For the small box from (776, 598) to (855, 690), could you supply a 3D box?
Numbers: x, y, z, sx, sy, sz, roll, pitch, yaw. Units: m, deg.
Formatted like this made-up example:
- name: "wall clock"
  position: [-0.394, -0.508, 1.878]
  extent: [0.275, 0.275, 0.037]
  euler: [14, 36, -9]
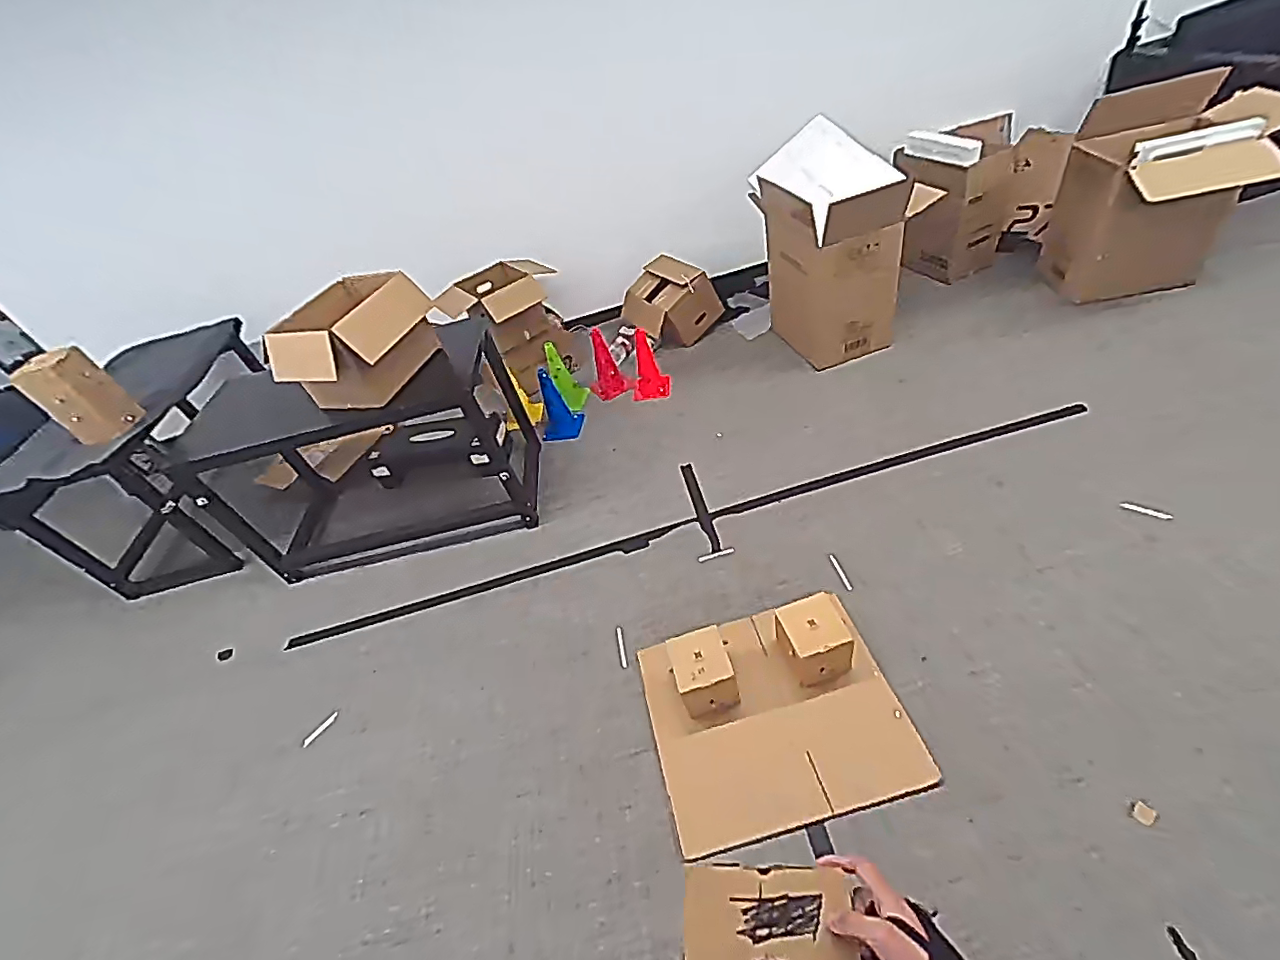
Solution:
- name: "small box"
  position: [0.523, 0.494, 1.625]
  extent: [0.168, 0.176, 0.179]
  euler: [-20, 42, -3]

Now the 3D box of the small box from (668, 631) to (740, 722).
- name: "small box"
  position: [0.192, 0.589, 1.622]
  extent: [0.168, 0.176, 0.179]
  euler: [-18, 42, 0]

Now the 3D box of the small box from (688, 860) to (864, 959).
- name: "small box"
  position: [0.136, 0.513, 0.556]
  extent: [0.168, 0.176, 0.179]
  euler: [-4, 47, 8]
